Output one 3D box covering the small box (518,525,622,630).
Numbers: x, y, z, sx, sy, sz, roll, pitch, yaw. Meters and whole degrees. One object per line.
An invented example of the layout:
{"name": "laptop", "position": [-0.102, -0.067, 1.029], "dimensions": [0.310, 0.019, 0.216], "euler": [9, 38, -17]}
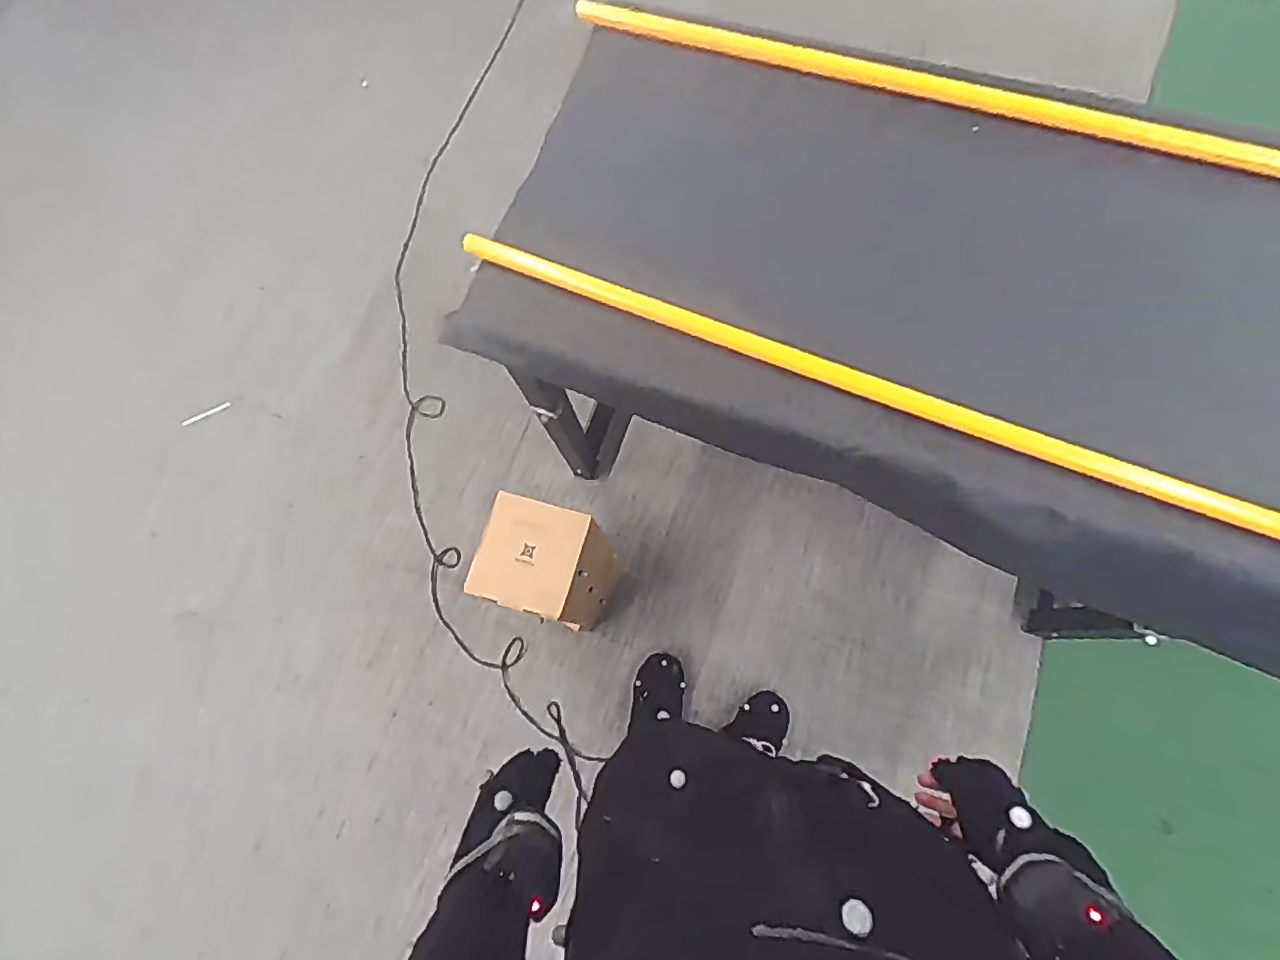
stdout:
{"name": "small box", "position": [-0.152, 0.230, 1.255], "dimensions": [0.168, 0.176, 0.179], "euler": [27, 78, 11]}
